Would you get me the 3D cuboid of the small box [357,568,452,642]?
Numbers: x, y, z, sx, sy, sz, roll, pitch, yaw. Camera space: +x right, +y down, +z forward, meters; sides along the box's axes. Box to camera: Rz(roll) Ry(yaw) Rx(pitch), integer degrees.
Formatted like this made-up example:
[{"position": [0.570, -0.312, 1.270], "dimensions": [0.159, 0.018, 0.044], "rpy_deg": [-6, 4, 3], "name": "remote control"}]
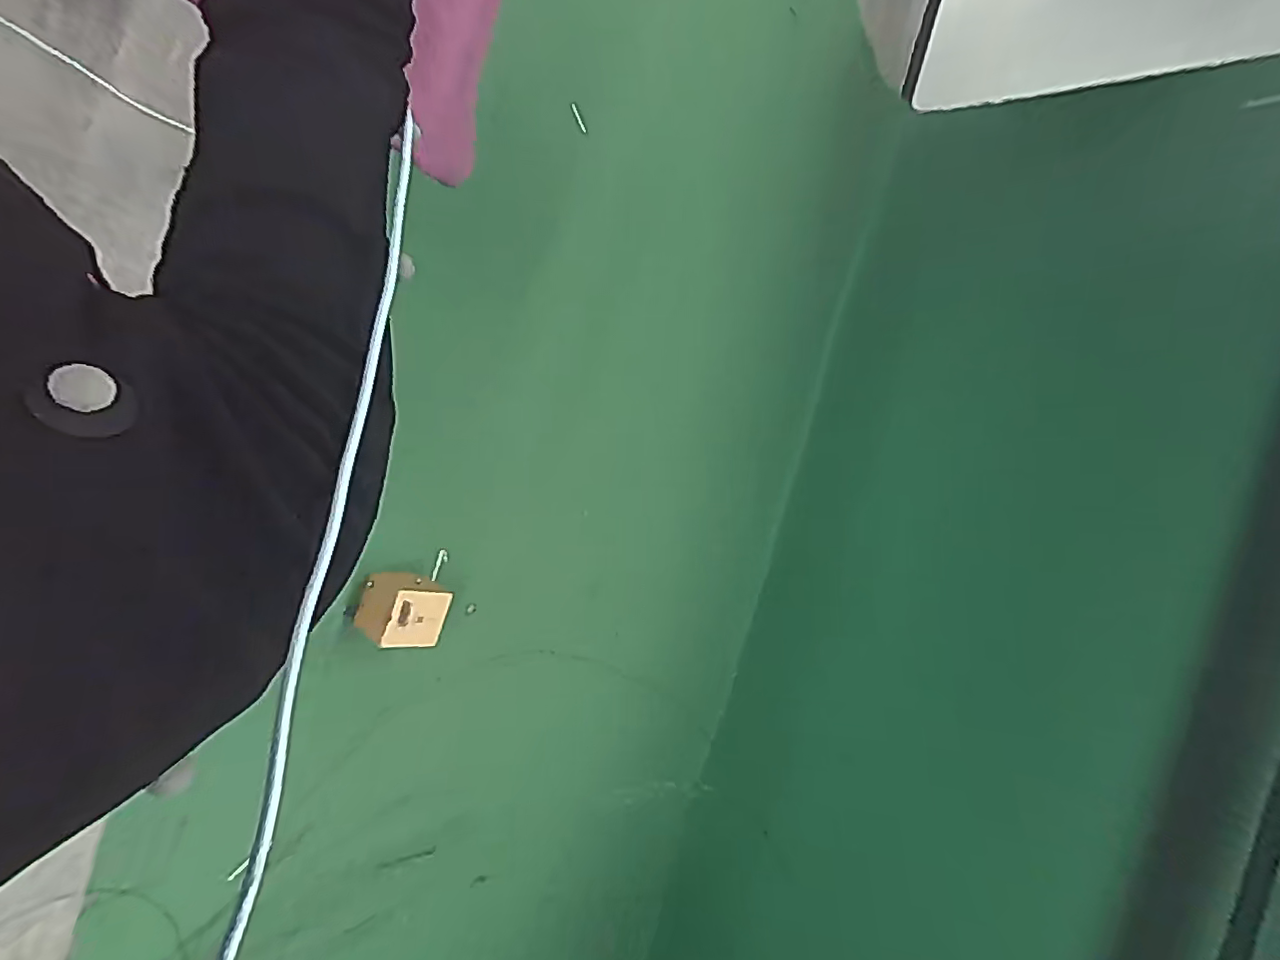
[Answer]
[{"position": [-0.693, 0.364, 1.581], "dimensions": [0.179, 0.176, 0.168], "rpy_deg": [21, 87, -53], "name": "small box"}]
